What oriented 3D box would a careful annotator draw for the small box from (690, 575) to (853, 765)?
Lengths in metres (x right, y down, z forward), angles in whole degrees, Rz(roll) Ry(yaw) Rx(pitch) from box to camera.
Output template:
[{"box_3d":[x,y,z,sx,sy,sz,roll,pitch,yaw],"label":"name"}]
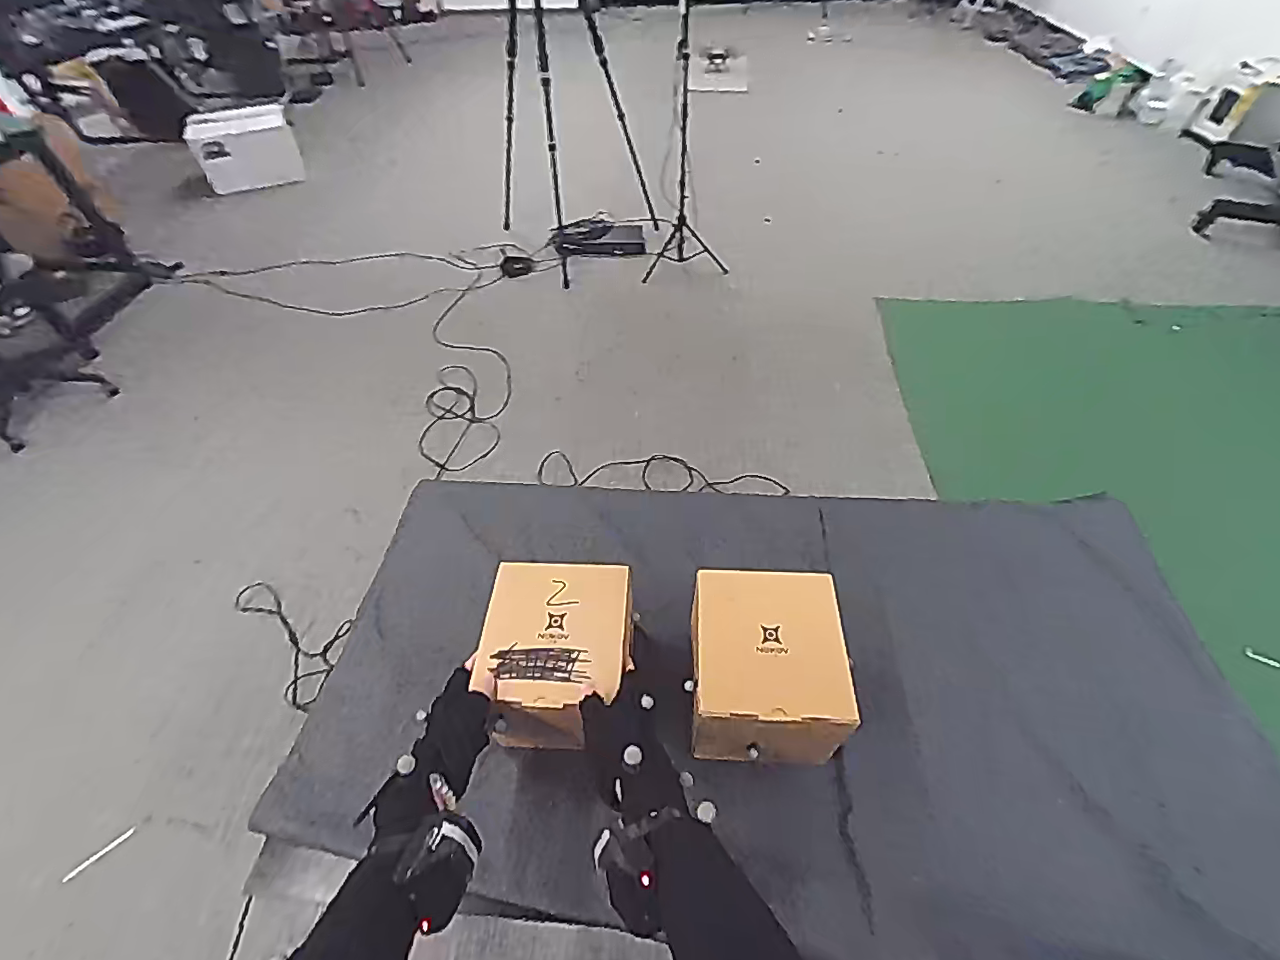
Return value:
[{"box_3d":[0.150,0.240,0.684,0.168,0.176,0.179,2,50,3],"label":"small box"}]
